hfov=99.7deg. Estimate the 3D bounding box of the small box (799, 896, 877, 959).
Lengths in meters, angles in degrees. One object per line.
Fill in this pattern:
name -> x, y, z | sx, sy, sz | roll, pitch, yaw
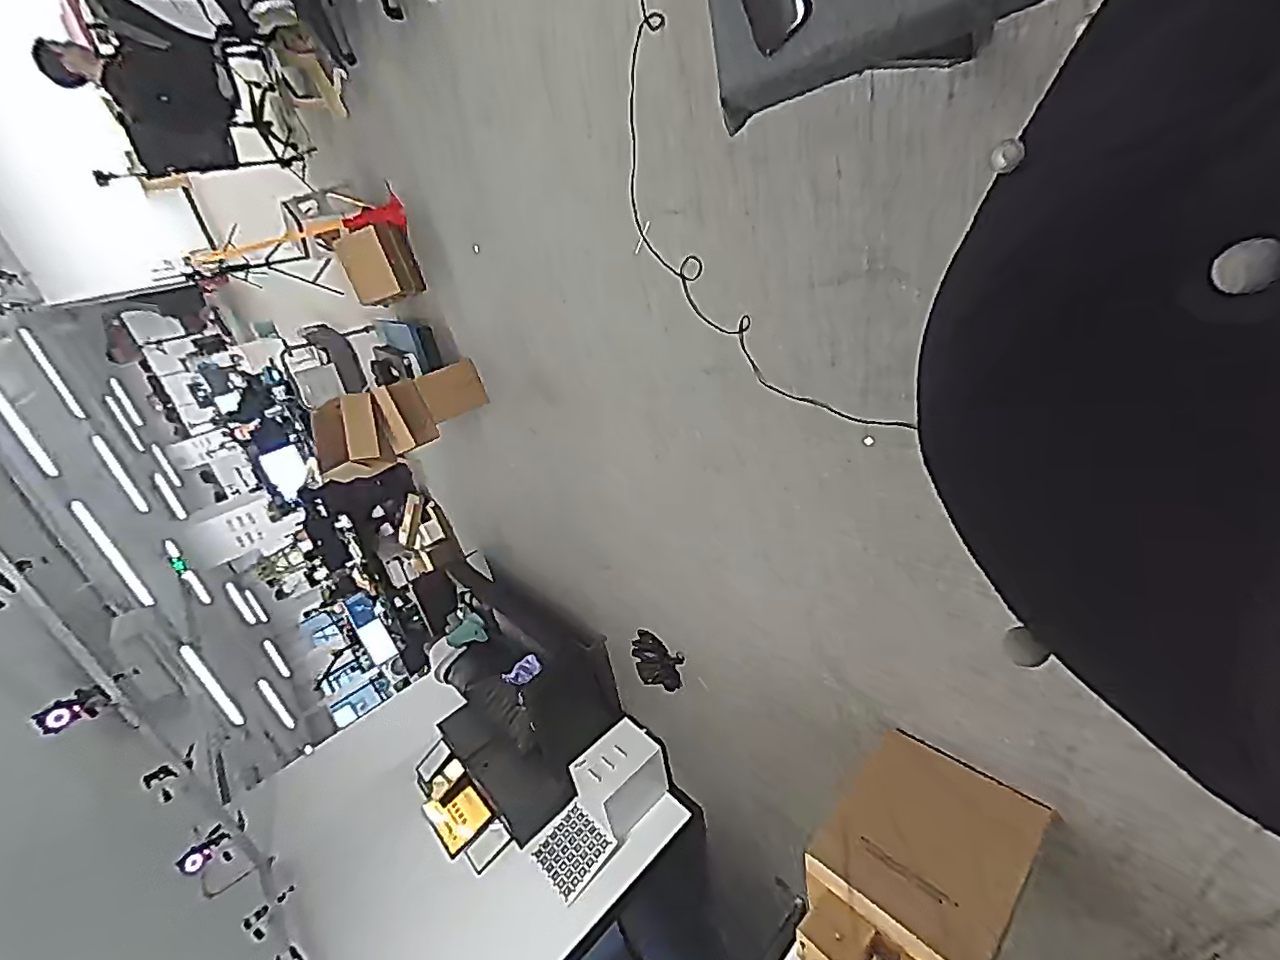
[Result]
small box -> 0.617, 1.462, 1.683 | 0.179, 0.176, 0.168 | 18, 124, 45
